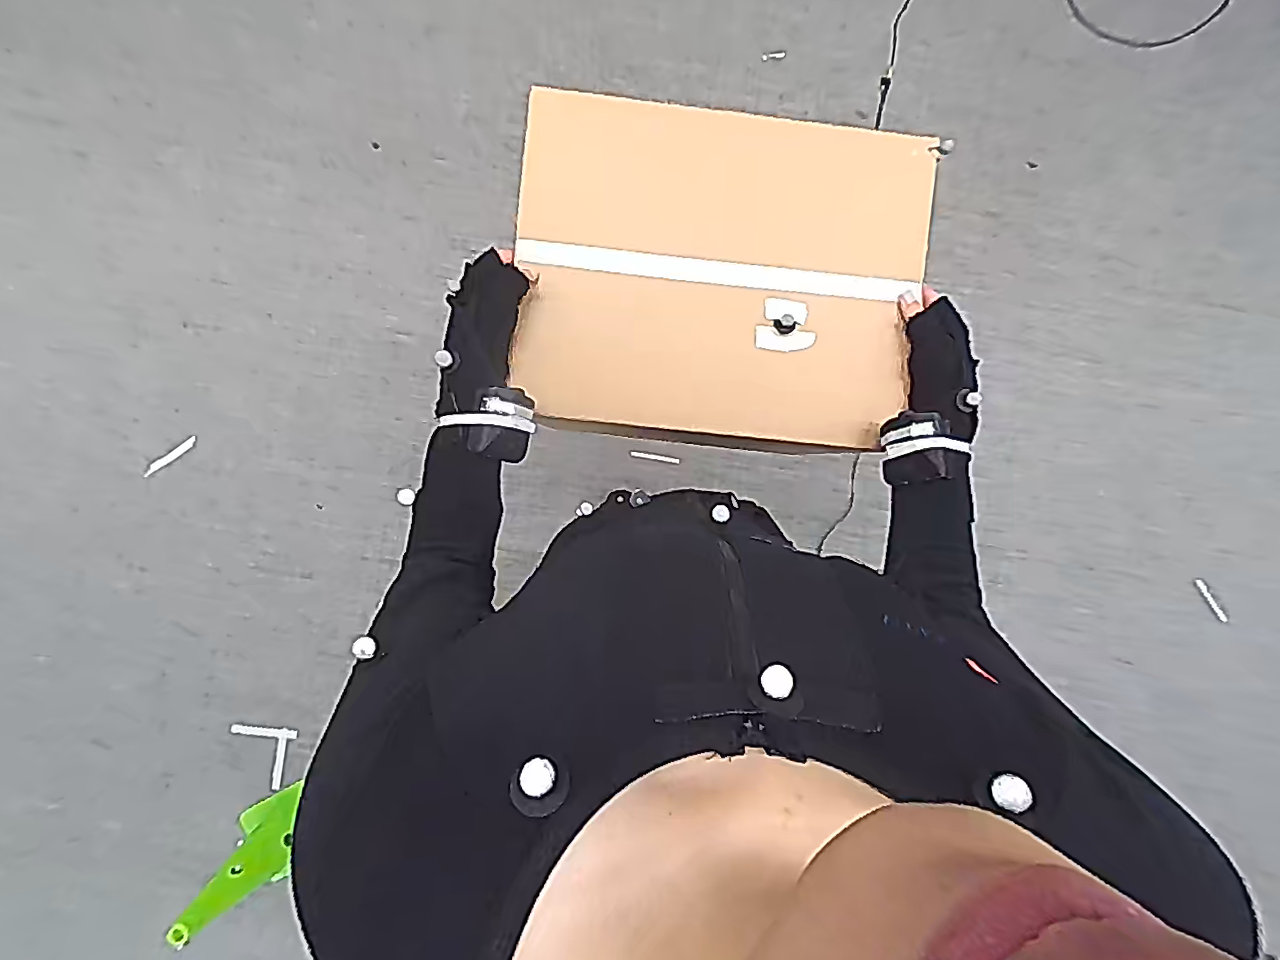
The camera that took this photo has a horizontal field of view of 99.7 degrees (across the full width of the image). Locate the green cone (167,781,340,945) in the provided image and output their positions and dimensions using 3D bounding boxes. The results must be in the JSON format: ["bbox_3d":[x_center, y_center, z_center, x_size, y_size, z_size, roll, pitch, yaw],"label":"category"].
[{"bbox_3d":[-0.917,0.910,1.253,0.202,0.368,0.200,-29,87,-1],"label":"green cone"}]

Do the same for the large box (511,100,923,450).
[{"bbox_3d":[0.070,-0.210,0.690,0.408,0.320,0.320,5,92,-3],"label":"large box"}]
